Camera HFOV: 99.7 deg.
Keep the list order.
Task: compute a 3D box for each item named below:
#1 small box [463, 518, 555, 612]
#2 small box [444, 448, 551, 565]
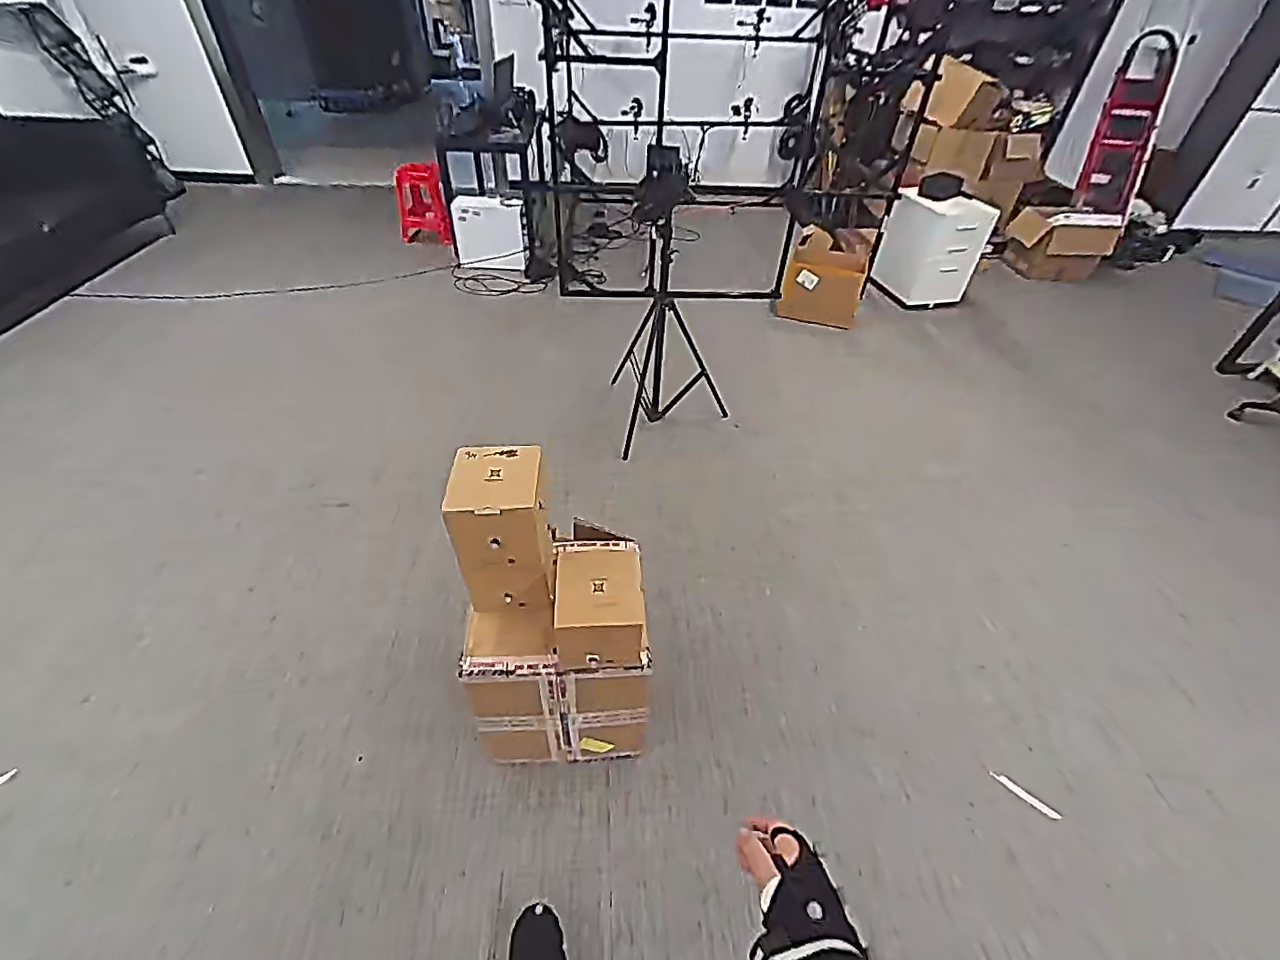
[{"bbox_3d":[-0.279,0.169,1.193,0.168,0.176,0.179,-3,45,-4],"label":"small box"},{"bbox_3d":[-0.271,0.057,1.072,0.168,0.176,0.179,-2,45,-3],"label":"small box"}]
